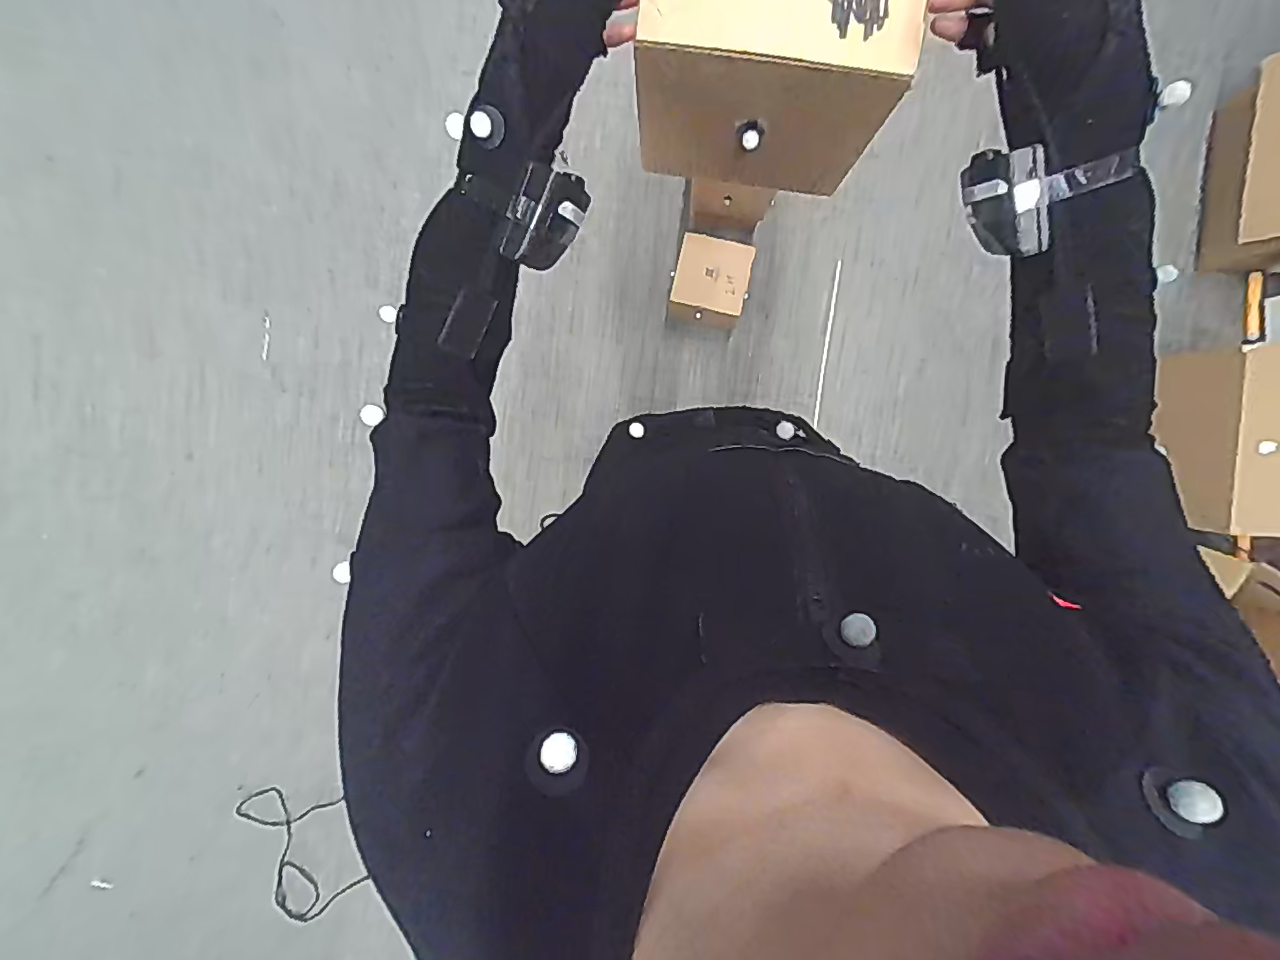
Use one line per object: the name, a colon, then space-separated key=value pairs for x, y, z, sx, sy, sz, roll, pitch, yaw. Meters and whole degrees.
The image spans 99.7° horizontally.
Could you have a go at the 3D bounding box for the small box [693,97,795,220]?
small box: x=0.218 y=-0.687 z=1.176 sx=0.179 sy=0.176 sz=0.168 roll=9 pitch=94 yaw=2

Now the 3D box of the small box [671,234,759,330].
small box: x=0.180 y=-0.488 z=1.354 sx=0.179 sy=0.176 sz=0.168 roll=14 pitch=95 yaw=1

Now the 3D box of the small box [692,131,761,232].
small box: x=0.222 y=-0.731 z=1.338 sx=0.179 sy=0.176 sz=0.168 roll=3 pitch=94 yaw=1
